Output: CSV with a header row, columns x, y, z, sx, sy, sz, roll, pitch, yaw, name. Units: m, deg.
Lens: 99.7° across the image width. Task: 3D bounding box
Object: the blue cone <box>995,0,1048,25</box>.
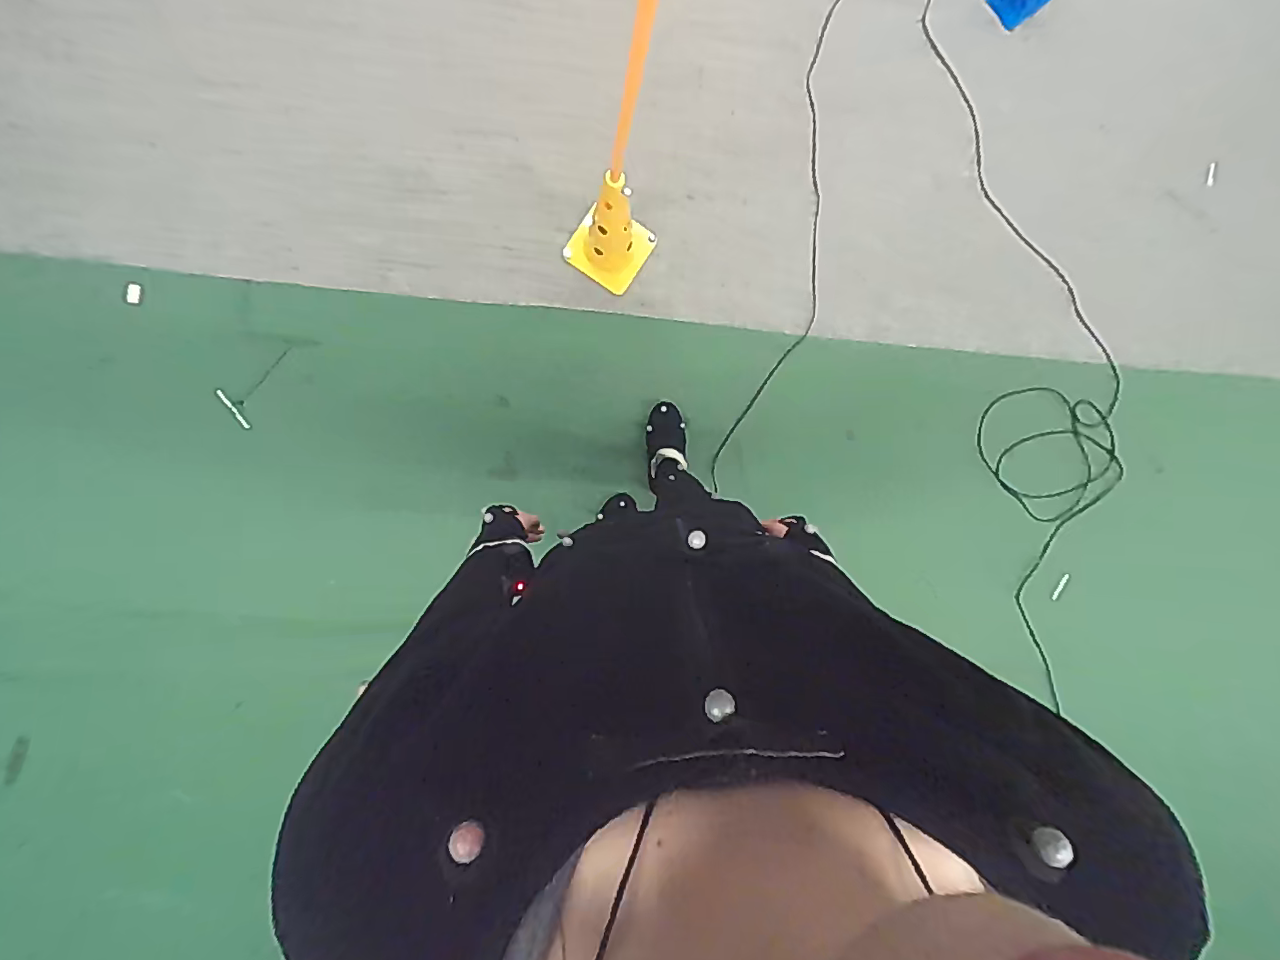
x,y,z,sx,sy,sz,roll,pitch,yaw,name
1.120,-1.453,1.412,0.193,0.380,0.192,-42,93,-6,blue cone
